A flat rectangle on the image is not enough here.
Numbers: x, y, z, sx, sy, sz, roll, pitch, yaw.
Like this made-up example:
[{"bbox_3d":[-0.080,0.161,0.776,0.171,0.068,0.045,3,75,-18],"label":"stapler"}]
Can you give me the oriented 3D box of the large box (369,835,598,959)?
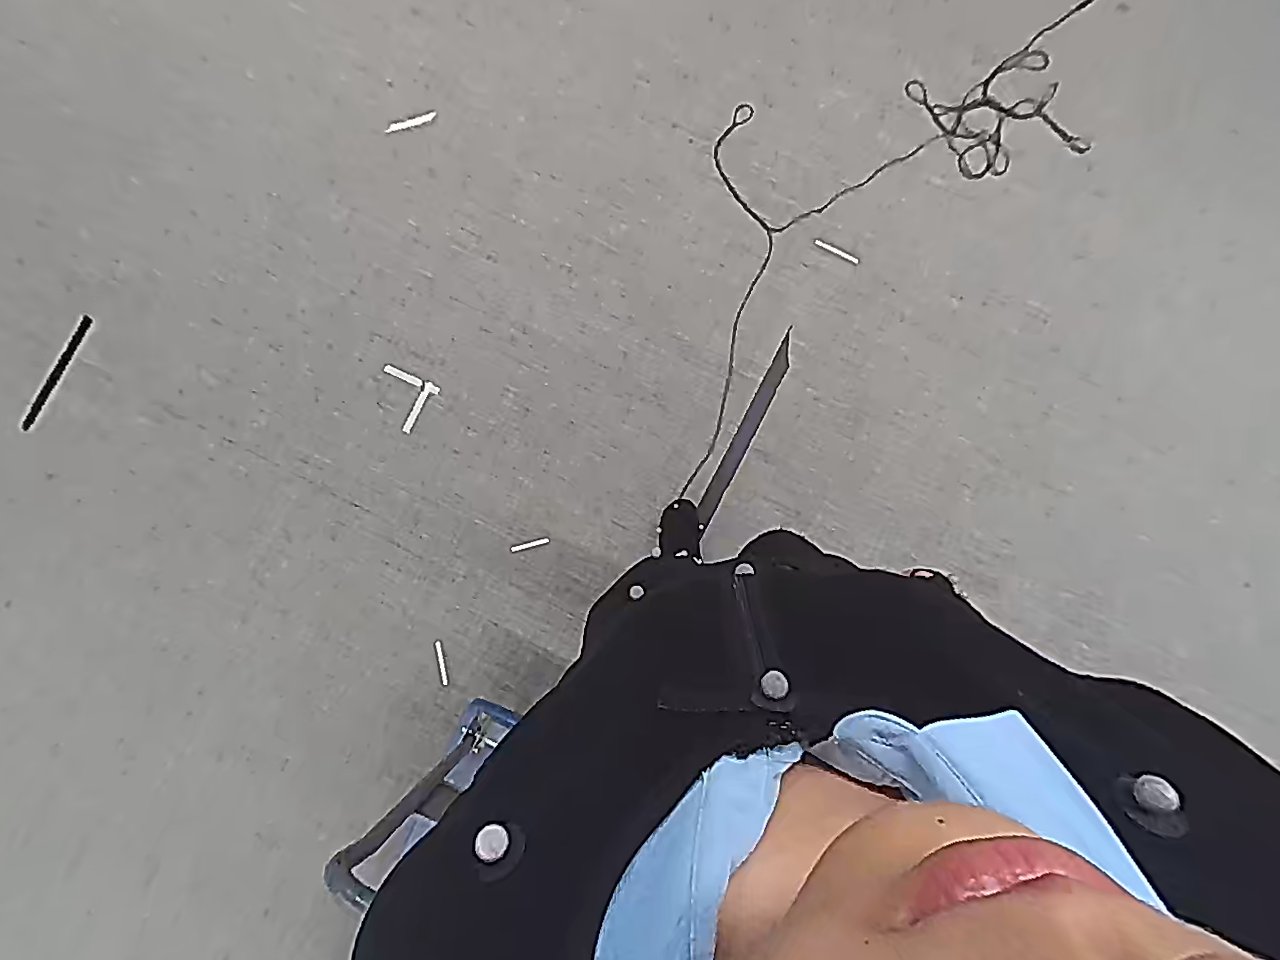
[{"bbox_3d":[-0.336,1.022,1.093,0.408,0.320,0.320,25,85,2],"label":"large box"}]
